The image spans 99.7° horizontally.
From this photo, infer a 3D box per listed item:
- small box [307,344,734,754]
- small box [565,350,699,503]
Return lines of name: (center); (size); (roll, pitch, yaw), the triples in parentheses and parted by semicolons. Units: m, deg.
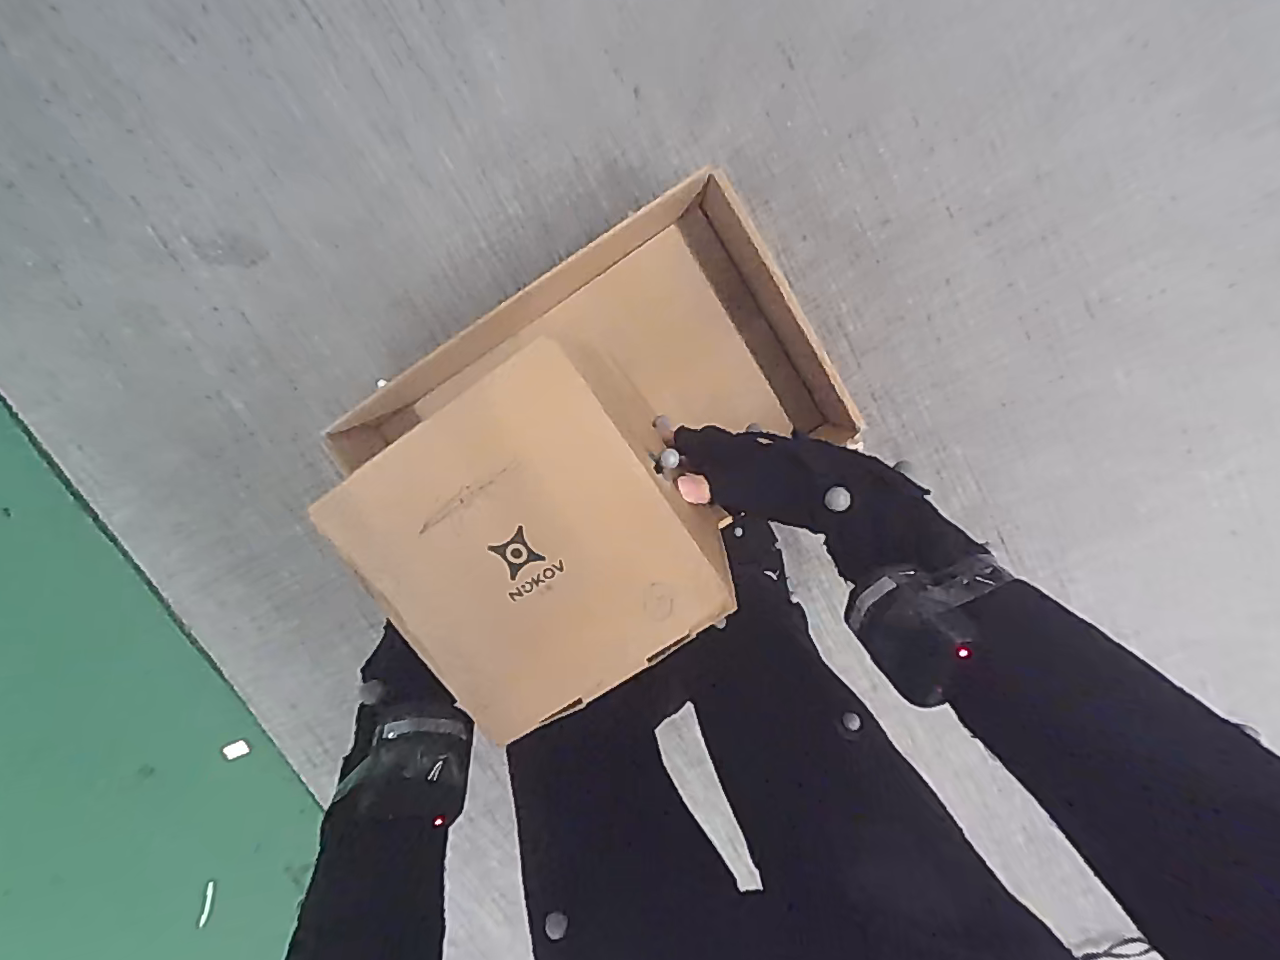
small box: (-0.058, 0.029, 0.362); (0.168, 0.176, 0.179); (-33, 97, 8)
small box: (-0.056, -0.009, 0.520); (0.168, 0.176, 0.179); (-37, 99, 10)
